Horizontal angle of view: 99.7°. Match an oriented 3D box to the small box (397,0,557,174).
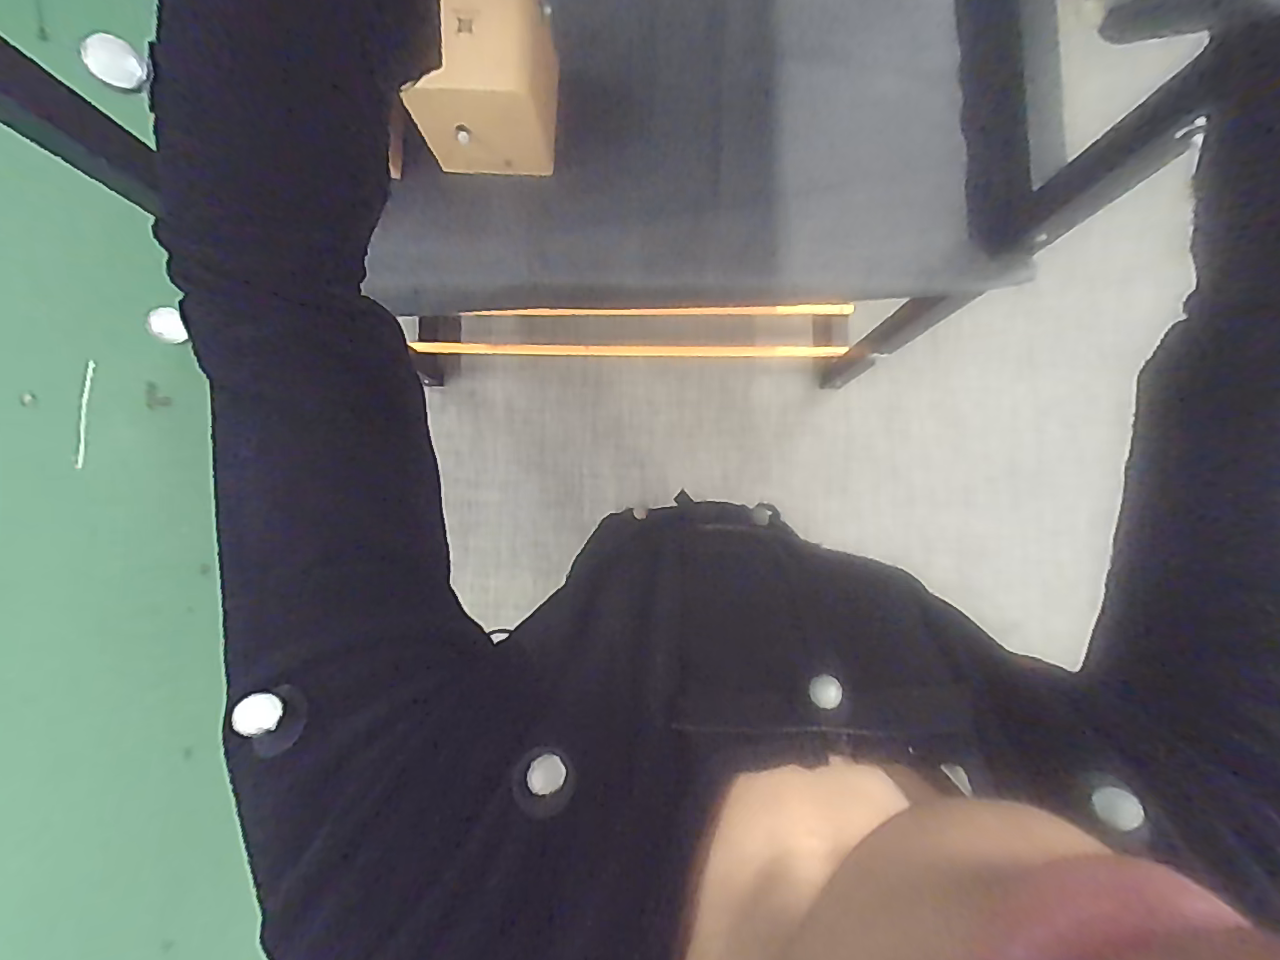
[{"bbox_3d":[-0.210,-0.551,0.742,0.168,0.176,0.179,2,85,0],"label":"small box"}]
